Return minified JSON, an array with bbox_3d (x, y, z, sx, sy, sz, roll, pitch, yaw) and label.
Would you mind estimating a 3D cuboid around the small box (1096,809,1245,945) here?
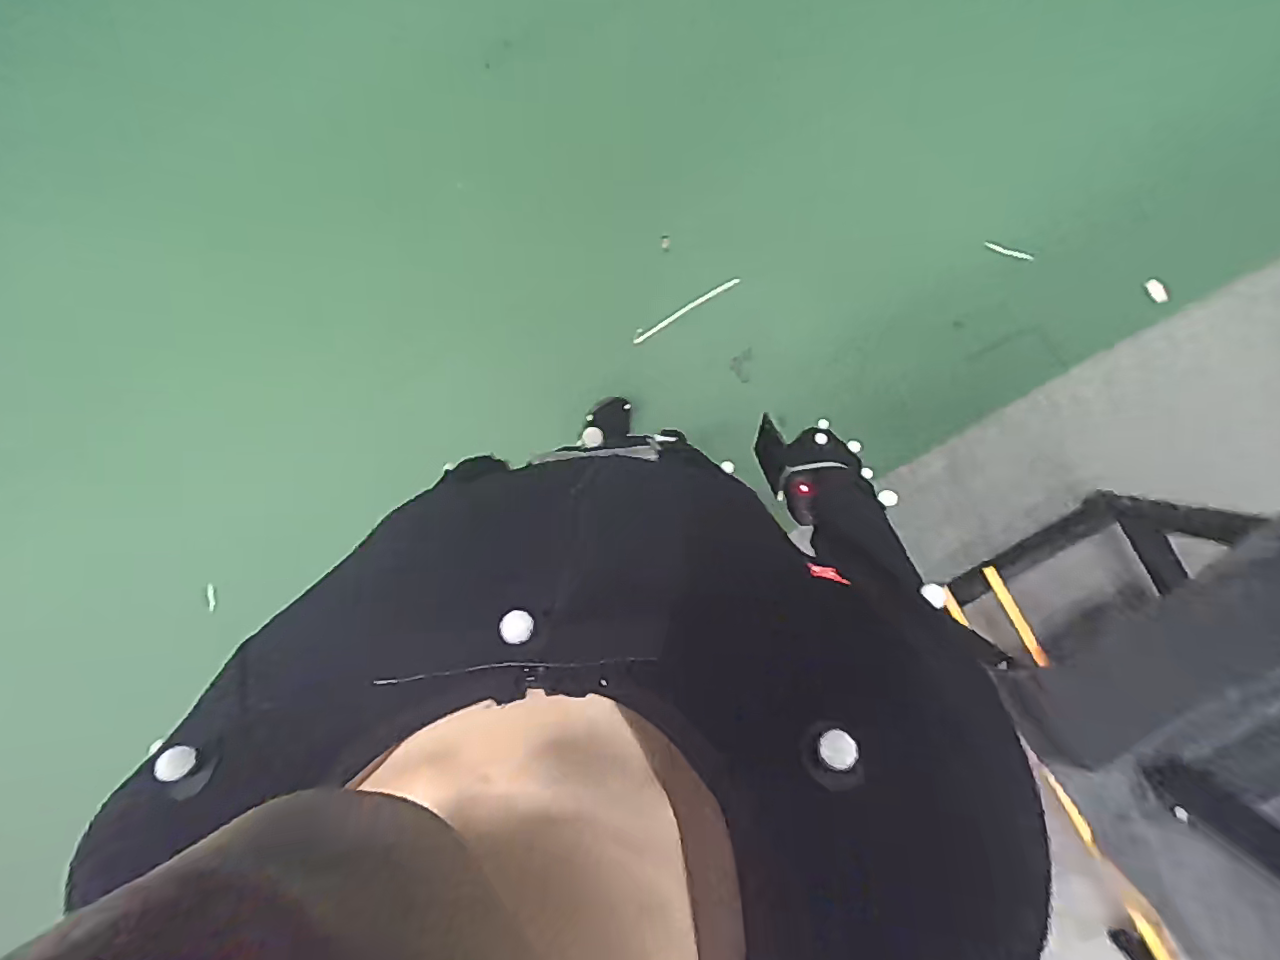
[{"bbox_3d":[1.258,0.947,1.302,0.179,0.176,0.168,-29,93,6],"label":"small box"}]
